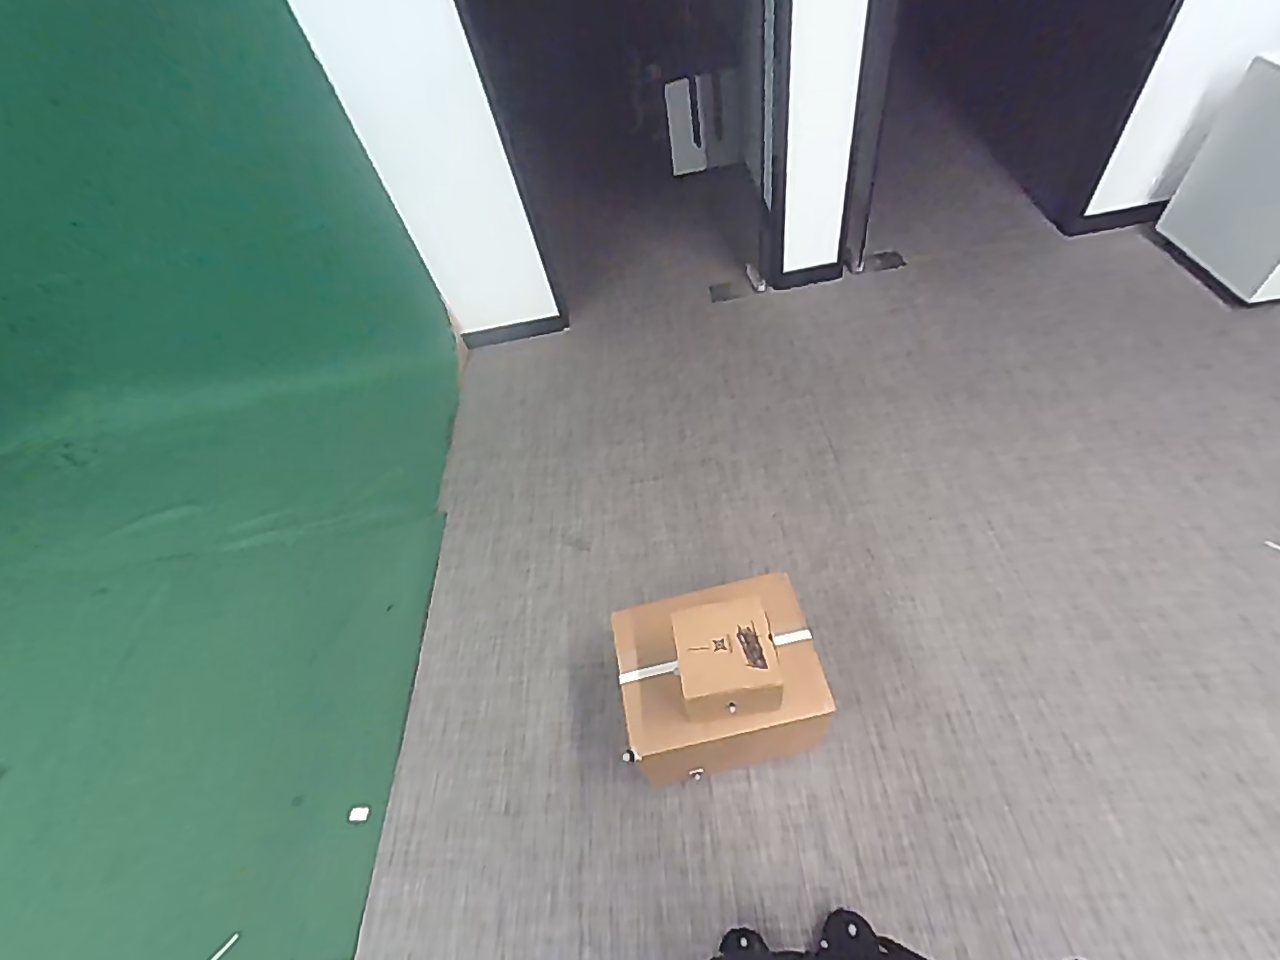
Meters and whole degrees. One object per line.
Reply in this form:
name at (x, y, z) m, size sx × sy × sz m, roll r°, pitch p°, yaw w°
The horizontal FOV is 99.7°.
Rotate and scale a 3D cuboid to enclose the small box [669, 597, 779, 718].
small box at (0.159, 0.345, 1.040) m, size 0.179 × 0.176 × 0.168 m, roll -11°, pitch 52°, yaw 5°
